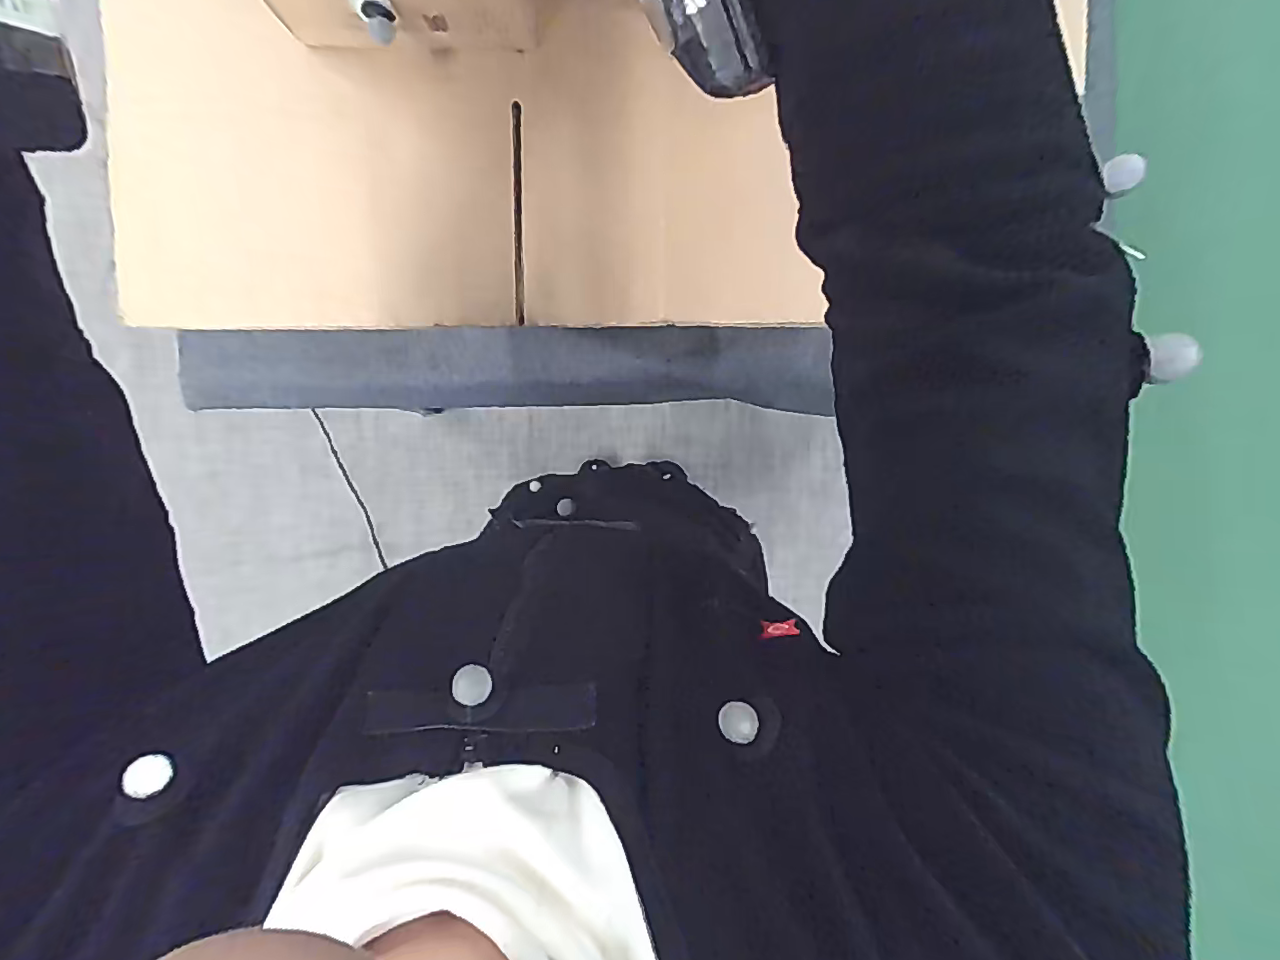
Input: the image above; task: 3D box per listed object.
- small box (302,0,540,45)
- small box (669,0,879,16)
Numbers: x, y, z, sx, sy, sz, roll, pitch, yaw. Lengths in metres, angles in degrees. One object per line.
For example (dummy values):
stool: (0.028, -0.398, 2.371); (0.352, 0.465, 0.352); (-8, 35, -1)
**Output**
small box: (-0.152, -0.391, 0.297); (0.168, 0.176, 0.179); (0, 96, 1)
small box: (0.089, -0.407, 0.288); (0.168, 0.176, 0.179); (1, 93, 0)
